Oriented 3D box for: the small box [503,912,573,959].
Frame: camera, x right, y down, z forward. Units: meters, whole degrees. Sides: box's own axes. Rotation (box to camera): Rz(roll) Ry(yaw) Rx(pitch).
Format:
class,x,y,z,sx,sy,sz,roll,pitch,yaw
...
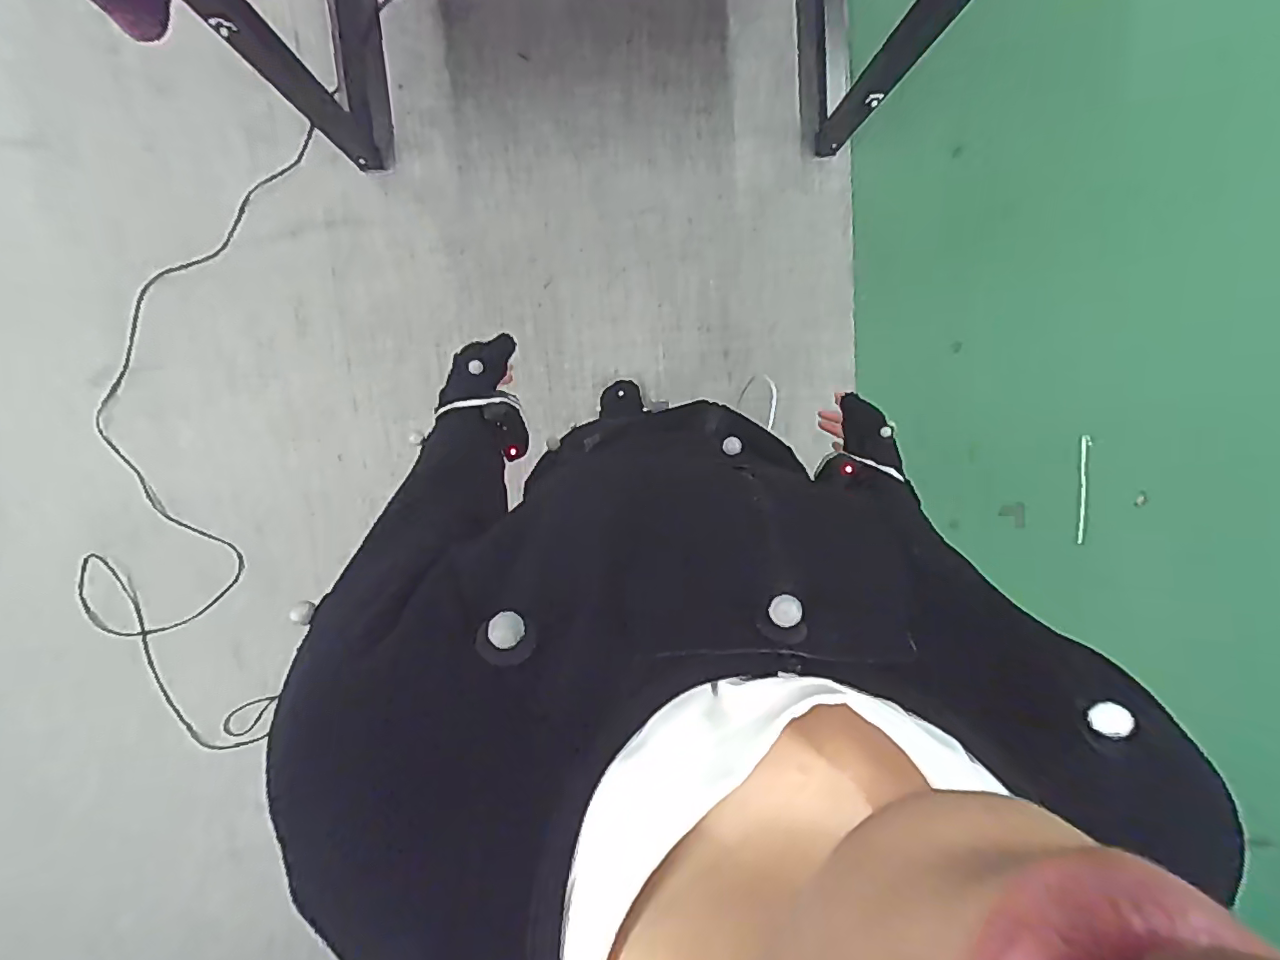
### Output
class,x,y,z,sx,sy,sz,roll,pitch,yaw
small box,-0.282,1.349,1.499,0.168,0.176,0.179,-12,99,-5
